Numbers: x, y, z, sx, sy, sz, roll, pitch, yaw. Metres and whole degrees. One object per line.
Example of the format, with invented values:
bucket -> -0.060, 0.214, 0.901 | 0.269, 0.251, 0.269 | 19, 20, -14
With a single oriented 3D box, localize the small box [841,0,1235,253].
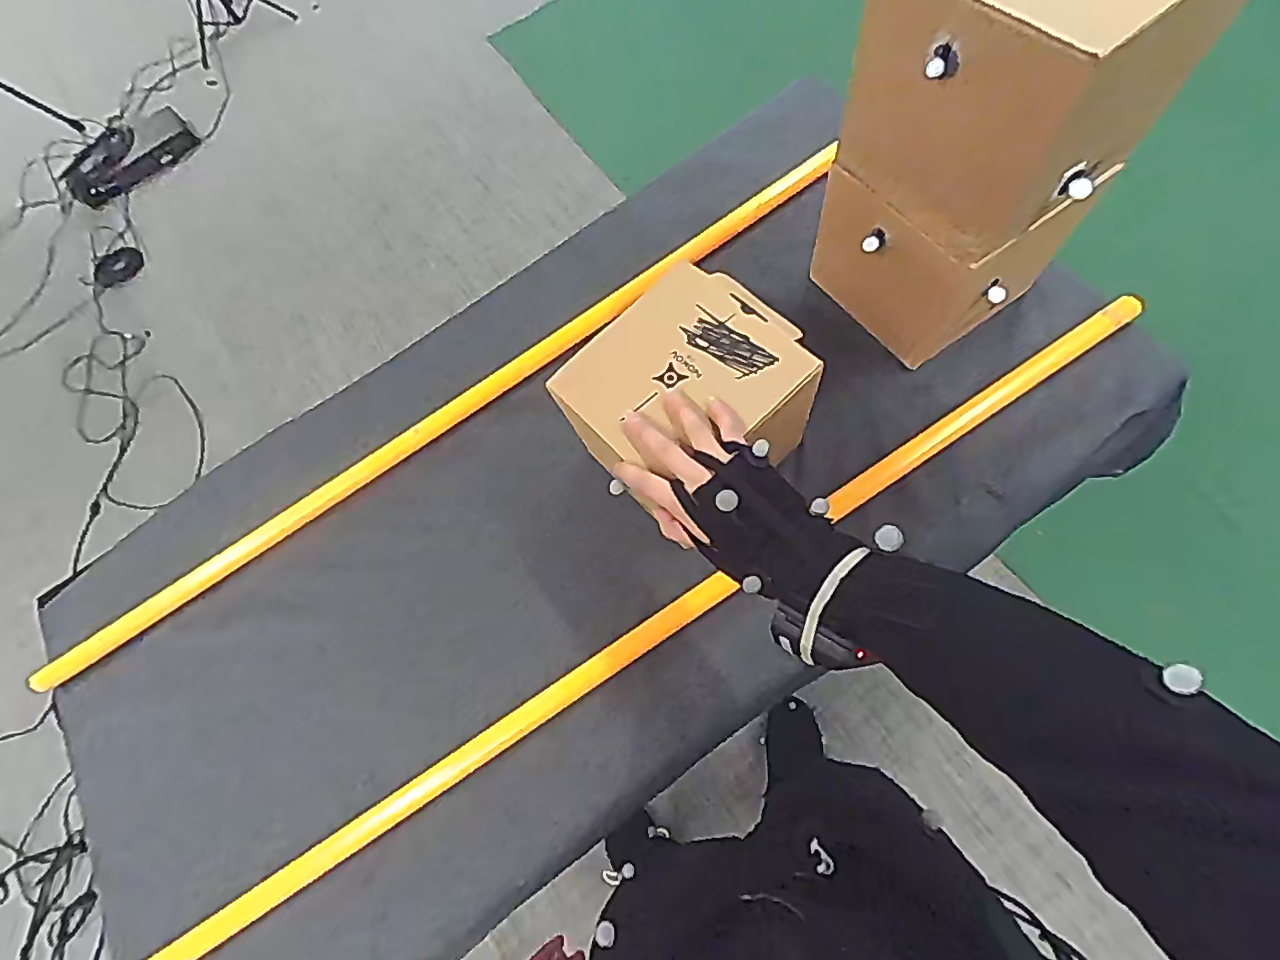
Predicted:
small box -> 0.281, -0.315, 0.411 | 0.168, 0.176, 0.179 | -37, 68, -3

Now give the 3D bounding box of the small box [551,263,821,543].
small box -> 0.047, -0.065, 0.536 | 0.179, 0.176, 0.168 | -43, 69, -6

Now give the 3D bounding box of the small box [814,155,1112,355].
small box -> 0.306, -0.255, 0.561 | 0.168, 0.176, 0.179 | -35, 67, -3
